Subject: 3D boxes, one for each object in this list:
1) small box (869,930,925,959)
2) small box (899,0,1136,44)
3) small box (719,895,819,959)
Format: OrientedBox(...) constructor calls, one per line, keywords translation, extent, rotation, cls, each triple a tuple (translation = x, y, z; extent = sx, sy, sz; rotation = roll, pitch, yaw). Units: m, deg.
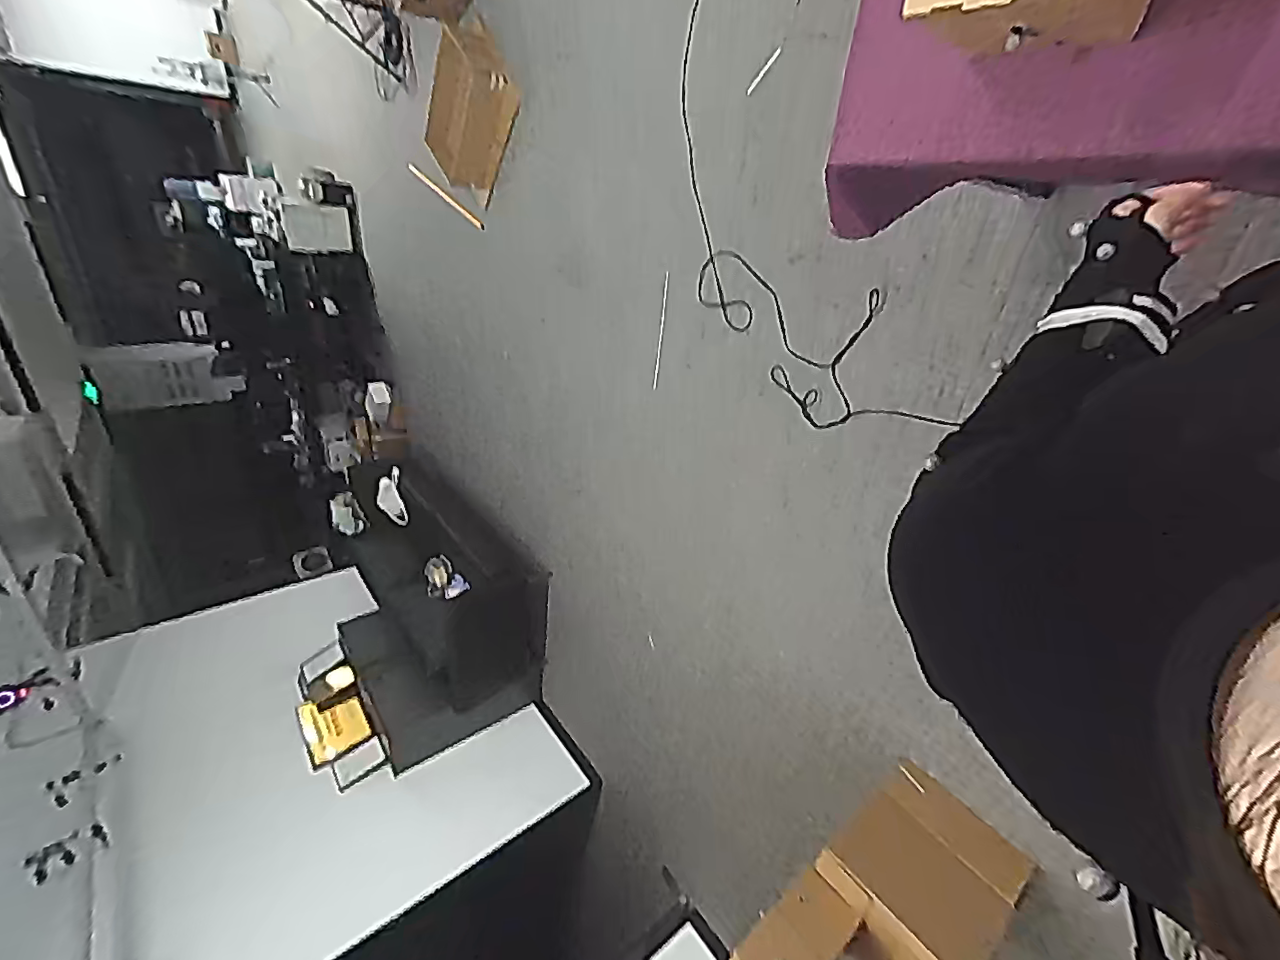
OrientedBox(translation=(0.640, 1.283, 1.341), extent=(0.168, 0.176, 0.179), rotation=(36, 130, 40), cls="small box")
OrientedBox(translation=(0.385, -0.539, 0.509), extent=(0.168, 0.176, 0.179), rotation=(33, 128, 39), cls="small box")
OrientedBox(translation=(0.341, 1.260, 1.439), extent=(0.179, 0.176, 0.168), rotation=(32, 128, 38), cls="small box")
